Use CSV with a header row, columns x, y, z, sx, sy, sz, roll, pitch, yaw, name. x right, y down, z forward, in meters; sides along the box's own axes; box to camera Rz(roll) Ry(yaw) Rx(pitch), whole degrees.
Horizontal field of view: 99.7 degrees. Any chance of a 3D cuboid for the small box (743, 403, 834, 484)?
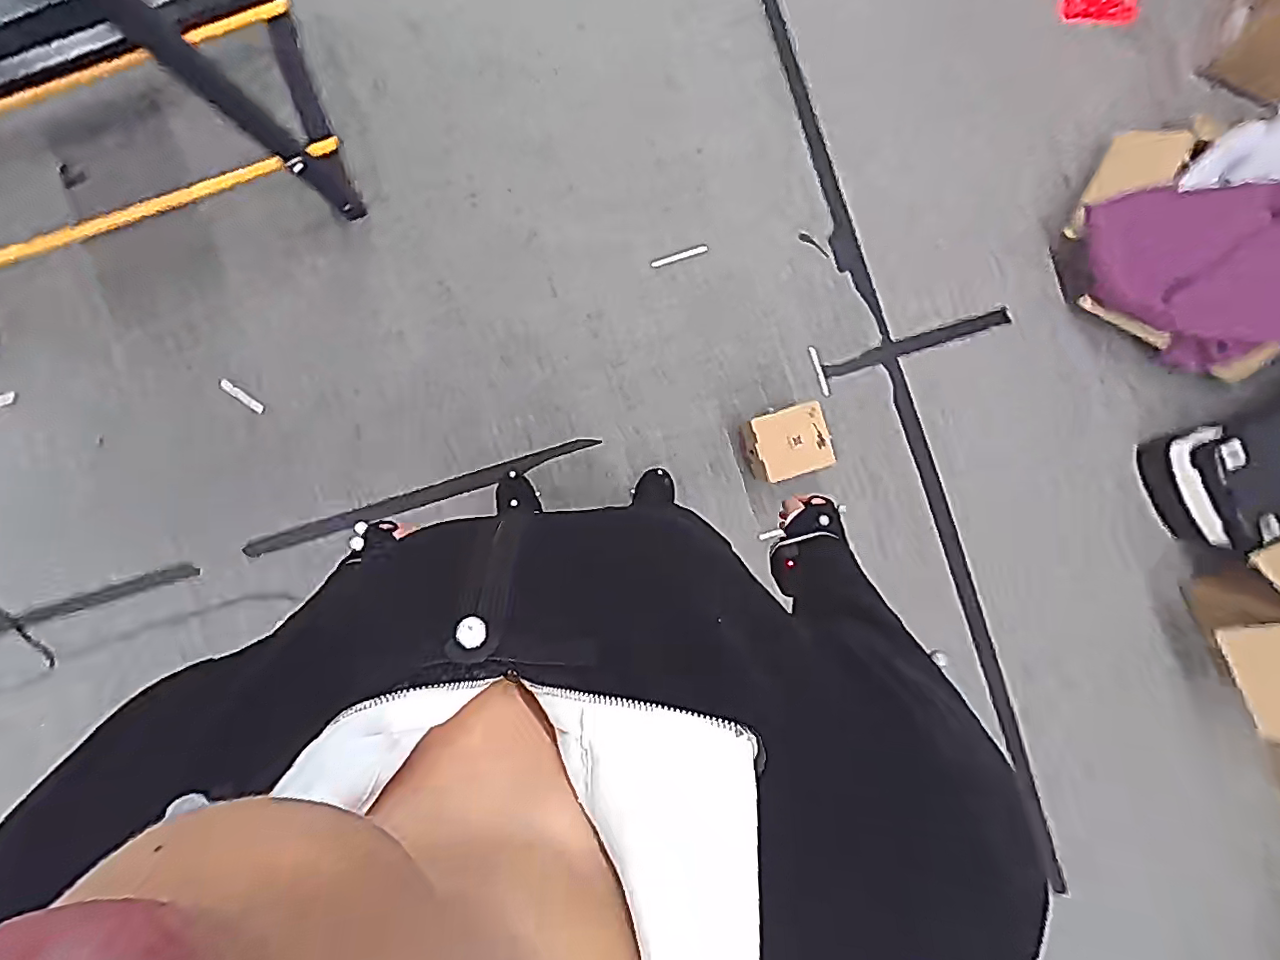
x,y,z,sx,sy,sz,roll,pitch,yaw,name
0.376,-0.091,1.408,0.179,0.176,0.168,-16,92,2,small box
